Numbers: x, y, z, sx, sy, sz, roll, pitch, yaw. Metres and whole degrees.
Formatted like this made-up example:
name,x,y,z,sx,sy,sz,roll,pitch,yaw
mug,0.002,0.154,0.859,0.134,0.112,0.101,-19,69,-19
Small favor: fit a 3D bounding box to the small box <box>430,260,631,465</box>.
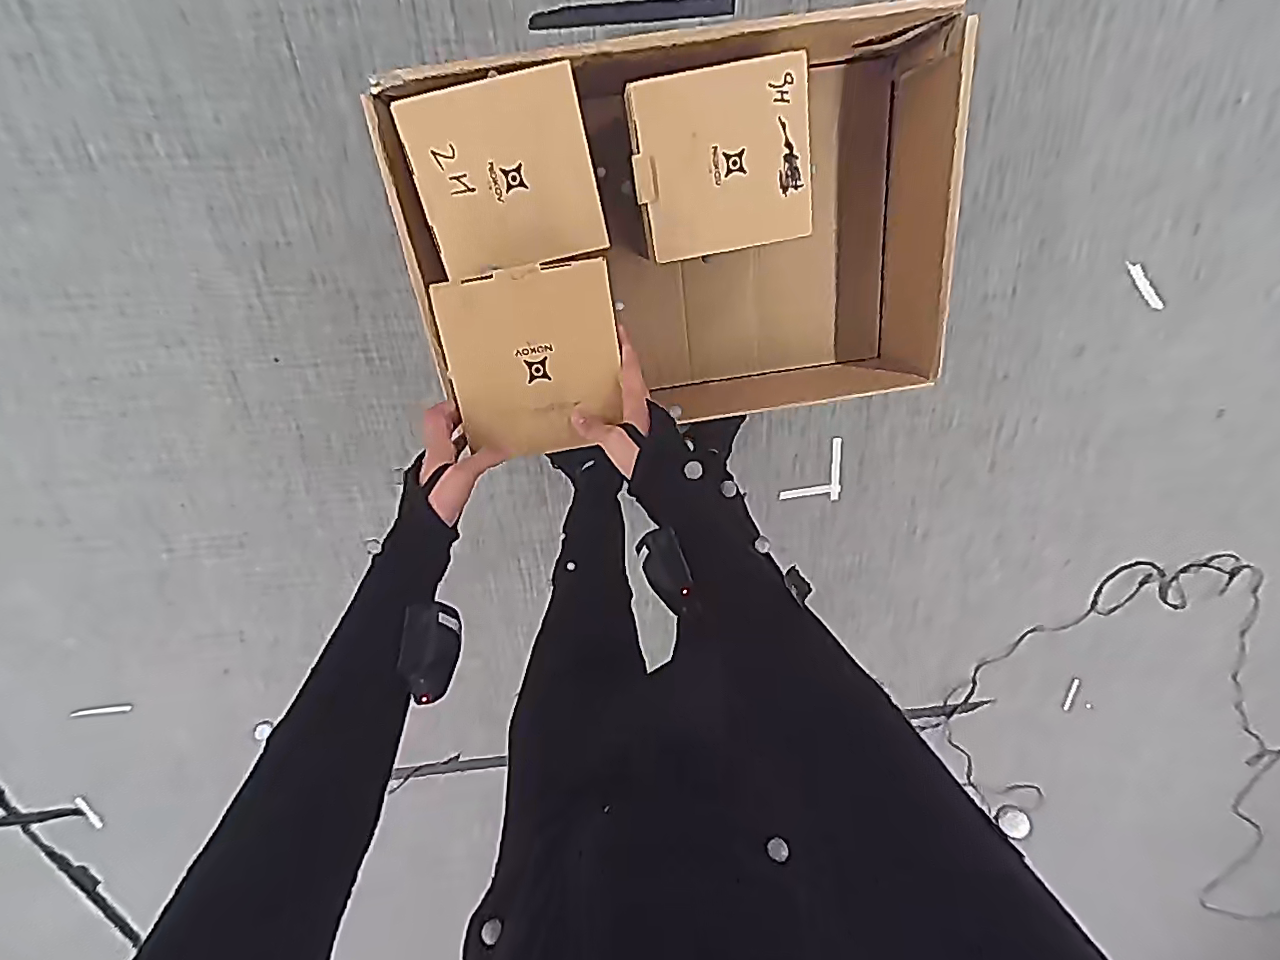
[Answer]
name,x,y,z,sx,sy,sz,roll,pitch,yaw
small box,-0.110,-0.131,0.597,0.168,0.176,0.179,-10,108,-3
